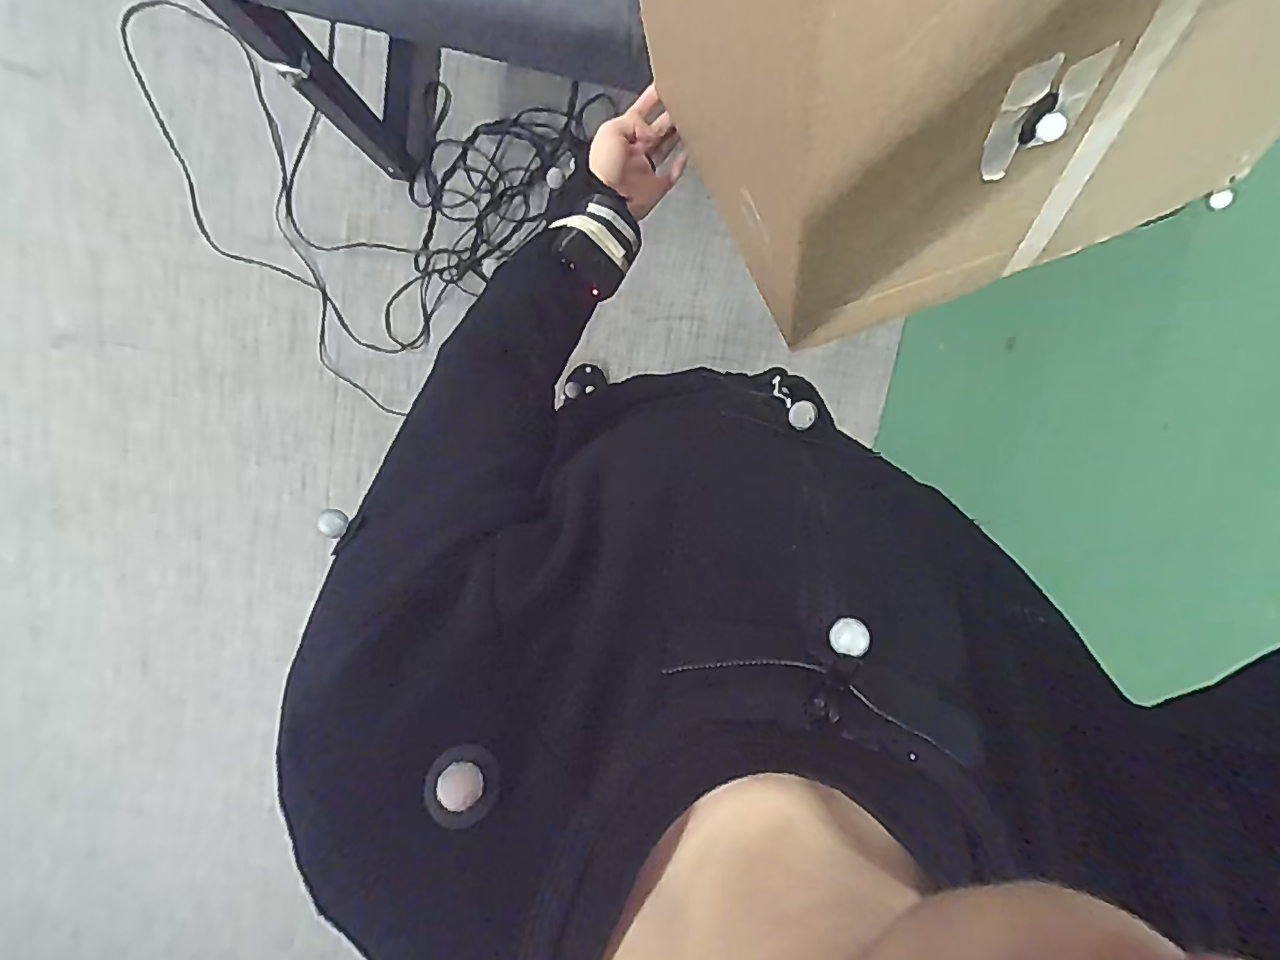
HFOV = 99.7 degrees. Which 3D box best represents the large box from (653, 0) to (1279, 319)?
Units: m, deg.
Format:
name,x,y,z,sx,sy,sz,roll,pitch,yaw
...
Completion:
name,x,y,z,sx,sy,sz,roll,pitch,yaw
large box,0.166,-0.363,0.254,0.320,0.408,0.320,-21,69,6
